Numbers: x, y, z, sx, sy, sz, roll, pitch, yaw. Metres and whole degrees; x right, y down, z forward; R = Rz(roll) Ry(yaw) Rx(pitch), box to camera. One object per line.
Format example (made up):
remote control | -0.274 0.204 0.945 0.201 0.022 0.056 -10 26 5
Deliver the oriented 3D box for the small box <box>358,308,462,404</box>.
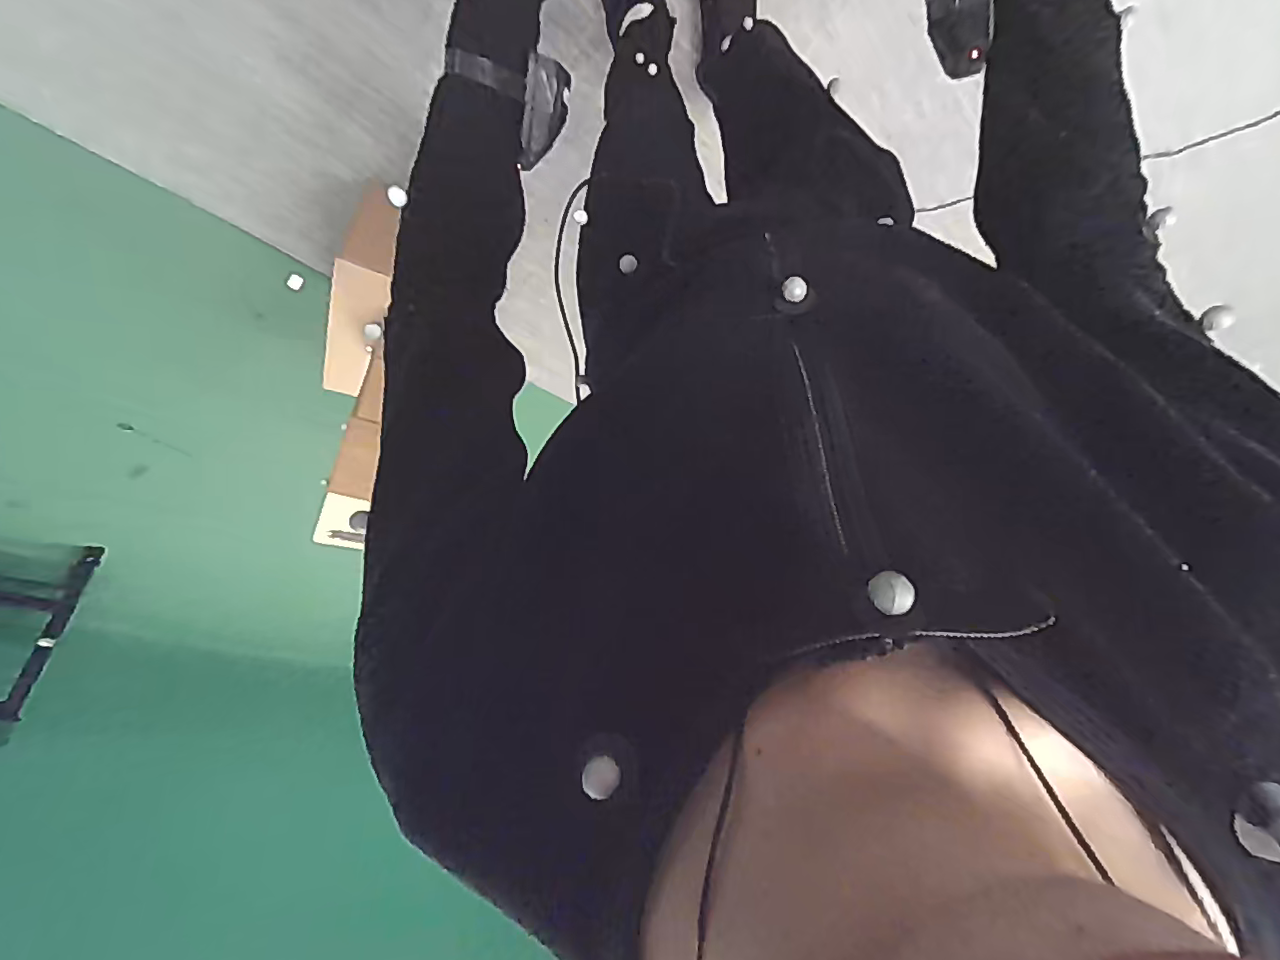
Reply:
small box | -0.505 -0.245 1.188 0.179 0.176 0.168 17 139 -30

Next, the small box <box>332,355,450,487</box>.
small box | -0.496 -0.116 1.090 0.168 0.176 0.179 18 138 -31
